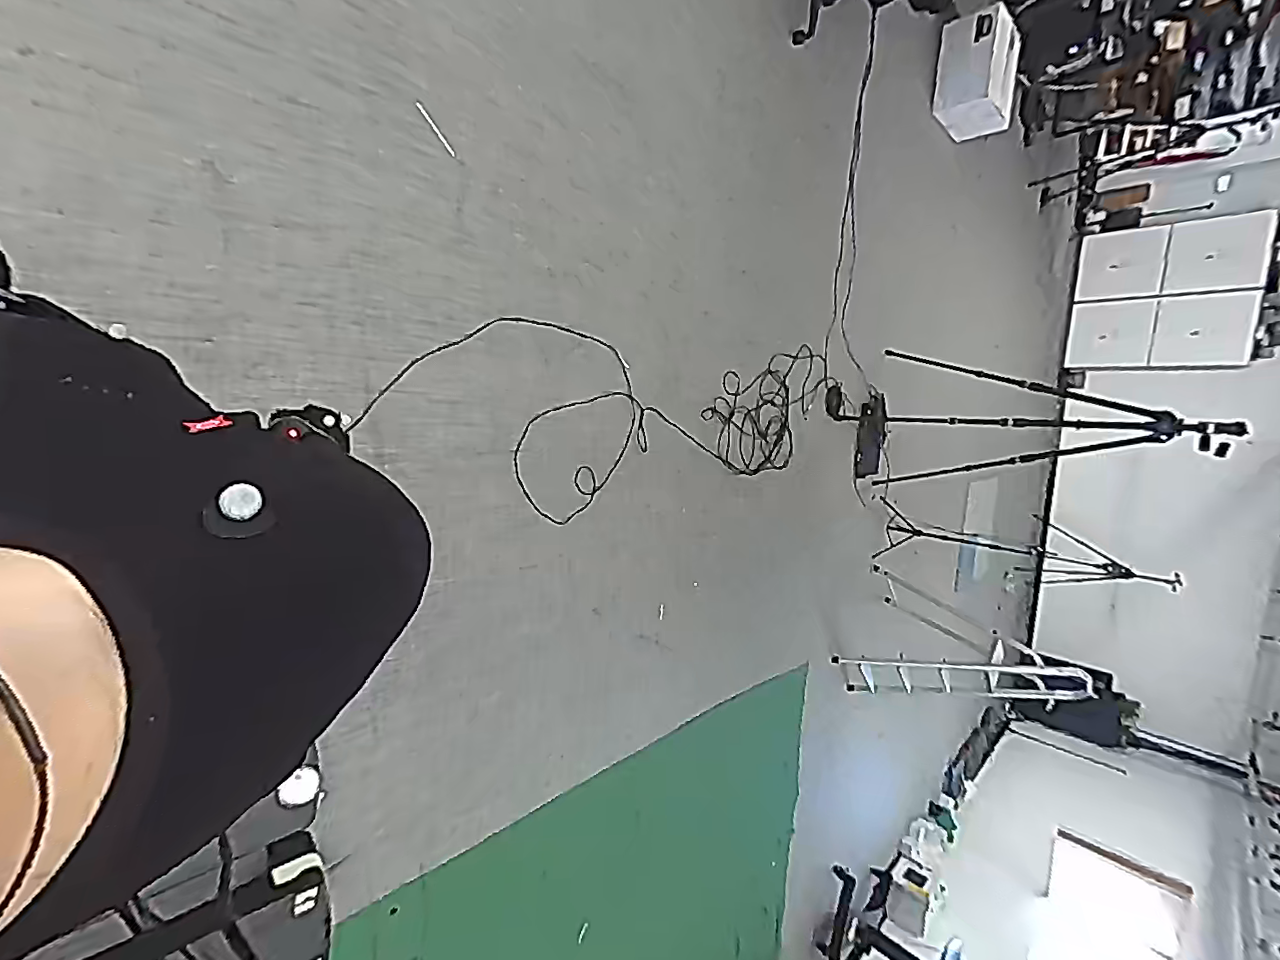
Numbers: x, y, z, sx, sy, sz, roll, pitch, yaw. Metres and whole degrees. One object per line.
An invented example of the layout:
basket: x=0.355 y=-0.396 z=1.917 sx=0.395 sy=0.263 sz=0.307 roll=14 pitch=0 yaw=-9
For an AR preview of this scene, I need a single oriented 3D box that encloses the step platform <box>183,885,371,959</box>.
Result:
step platform: x=-0.911 y=1.133 z=1.045 sx=0.684 sy=0.204 sz=0.286 roll=-5 pitch=101 yaw=-45
